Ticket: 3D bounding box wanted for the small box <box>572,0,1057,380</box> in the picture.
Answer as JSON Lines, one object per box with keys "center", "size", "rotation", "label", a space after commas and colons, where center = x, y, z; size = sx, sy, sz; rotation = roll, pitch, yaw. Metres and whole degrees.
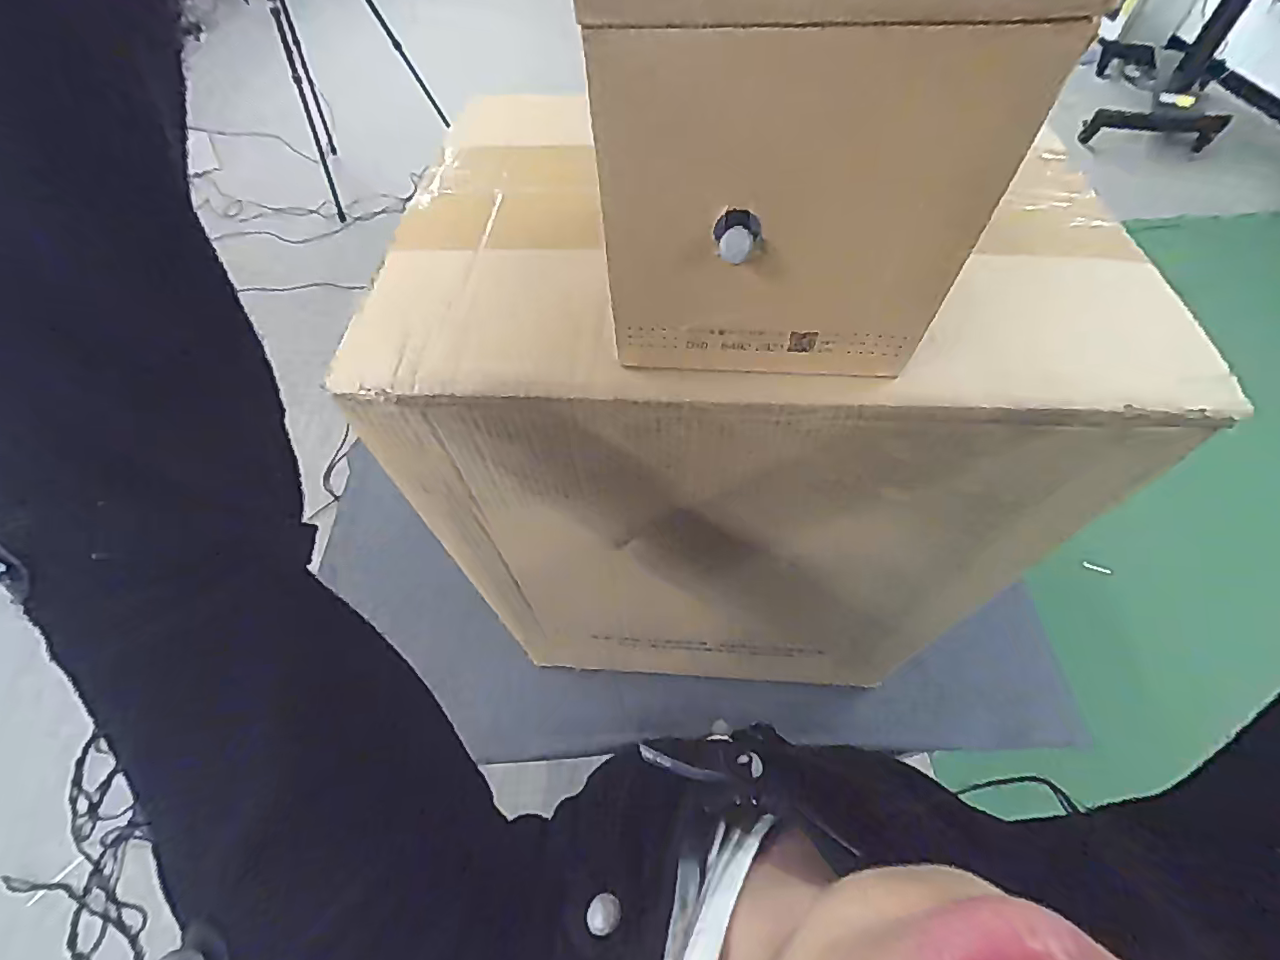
{"center": [0.068, -0.172, 0.294], "size": [0.168, 0.176, 0.179], "rotation": [3, 59, 5], "label": "small box"}
